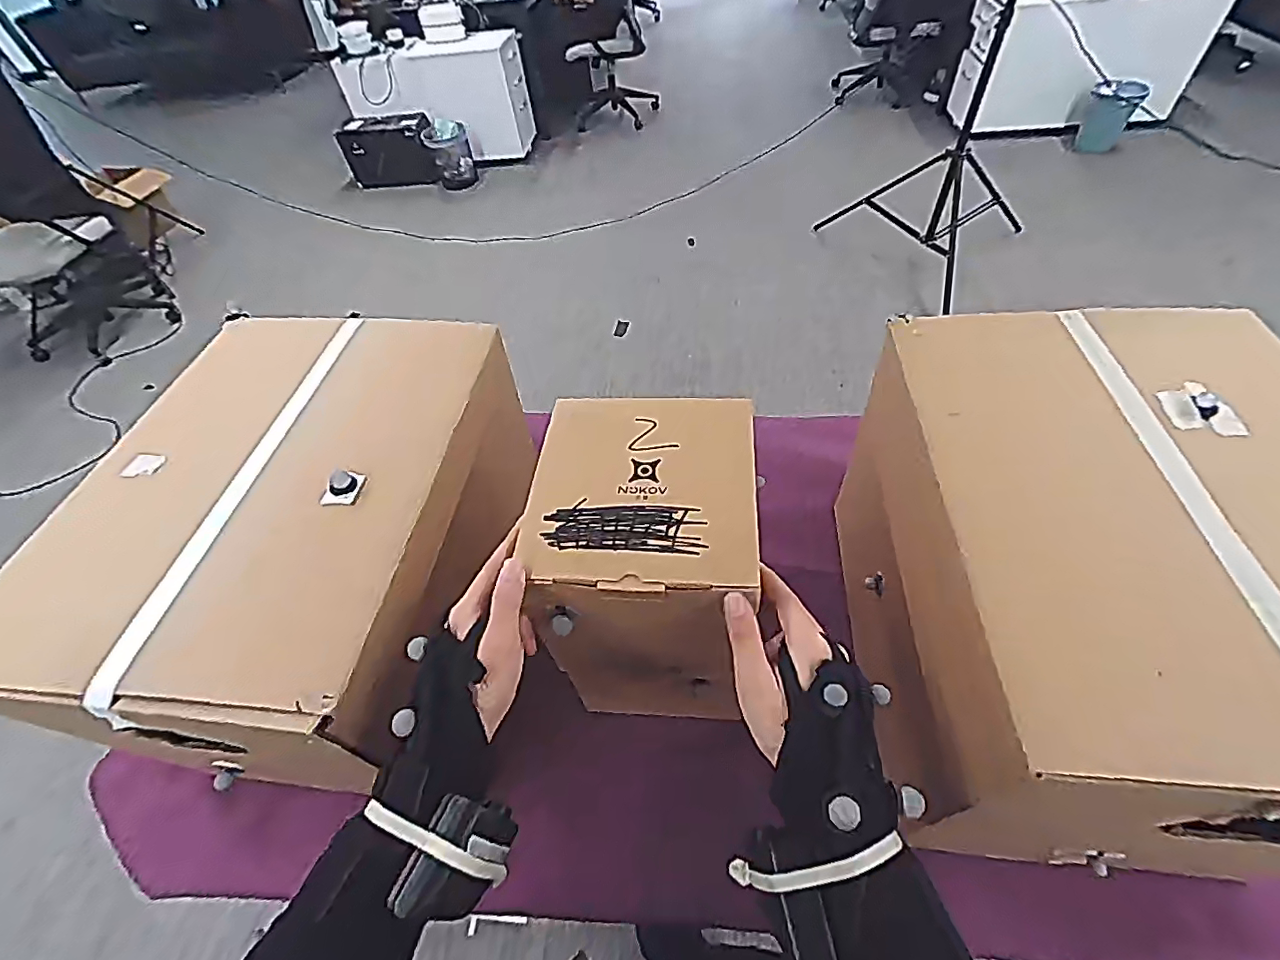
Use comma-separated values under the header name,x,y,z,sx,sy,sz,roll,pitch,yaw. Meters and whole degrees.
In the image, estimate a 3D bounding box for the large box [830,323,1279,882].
name,x,y,z,sx,sy,sz,roll,pitch,yaw
large box,0.383,0.105,0.502,0.320,0.320,0.408,1,50,7
